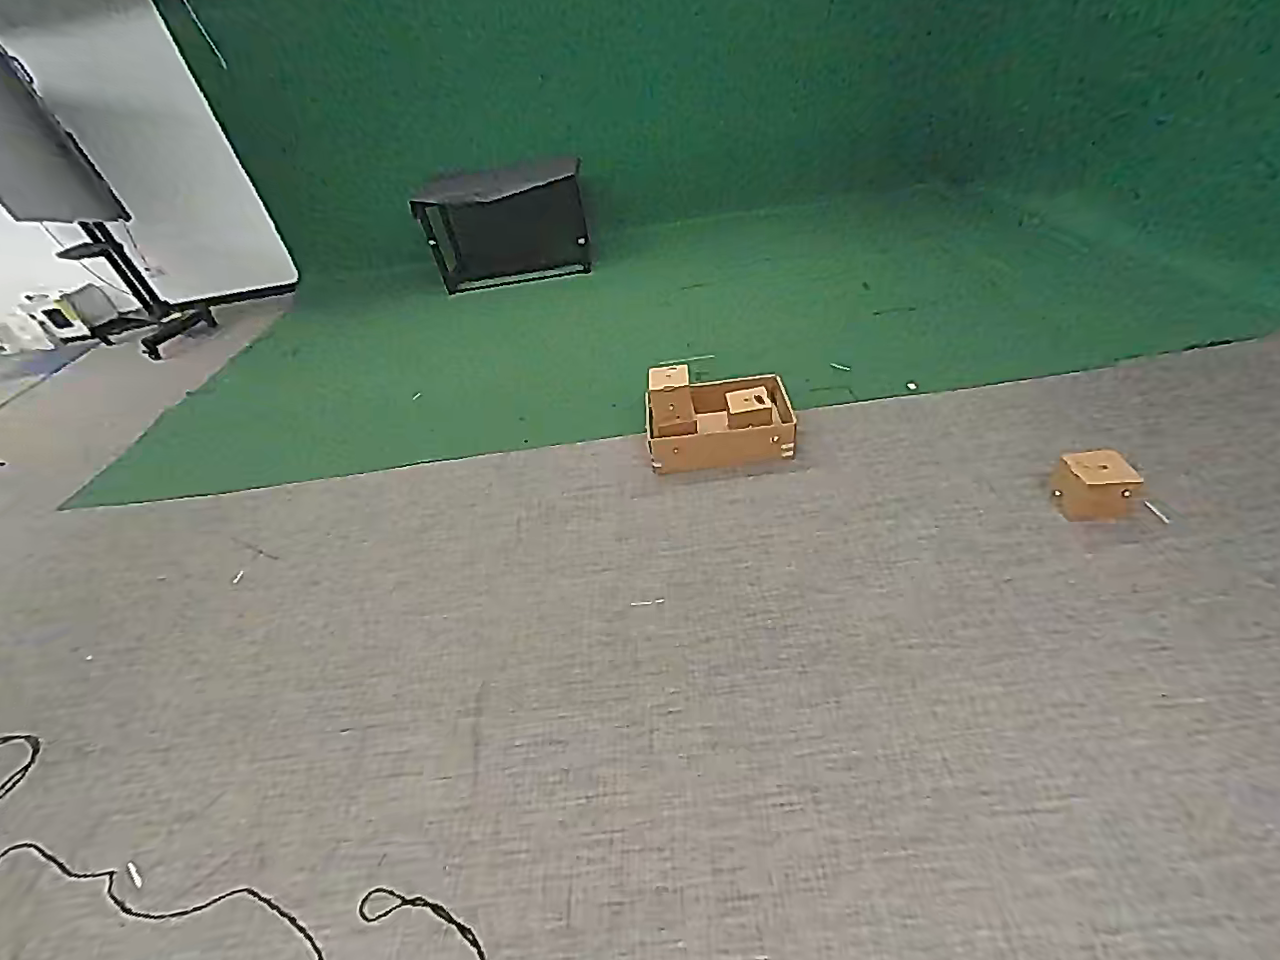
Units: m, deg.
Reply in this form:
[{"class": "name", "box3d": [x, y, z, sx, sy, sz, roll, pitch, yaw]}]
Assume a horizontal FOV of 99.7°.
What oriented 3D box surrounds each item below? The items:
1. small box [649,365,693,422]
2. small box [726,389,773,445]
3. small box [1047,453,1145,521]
[{"class": "small box", "box3d": [0.131, -0.357, 2.272, 0.168, 0.176, 0.179, -6, 42, 6]}, {"class": "small box", "box3d": [0.476, -0.274, 2.354, 0.179, 0.176, 0.168, -8, 41, 5]}, {"class": "small box", "box3d": [1.550, 0.026, 1.851, 0.179, 0.176, 0.168, -4, 40, 8]}]
